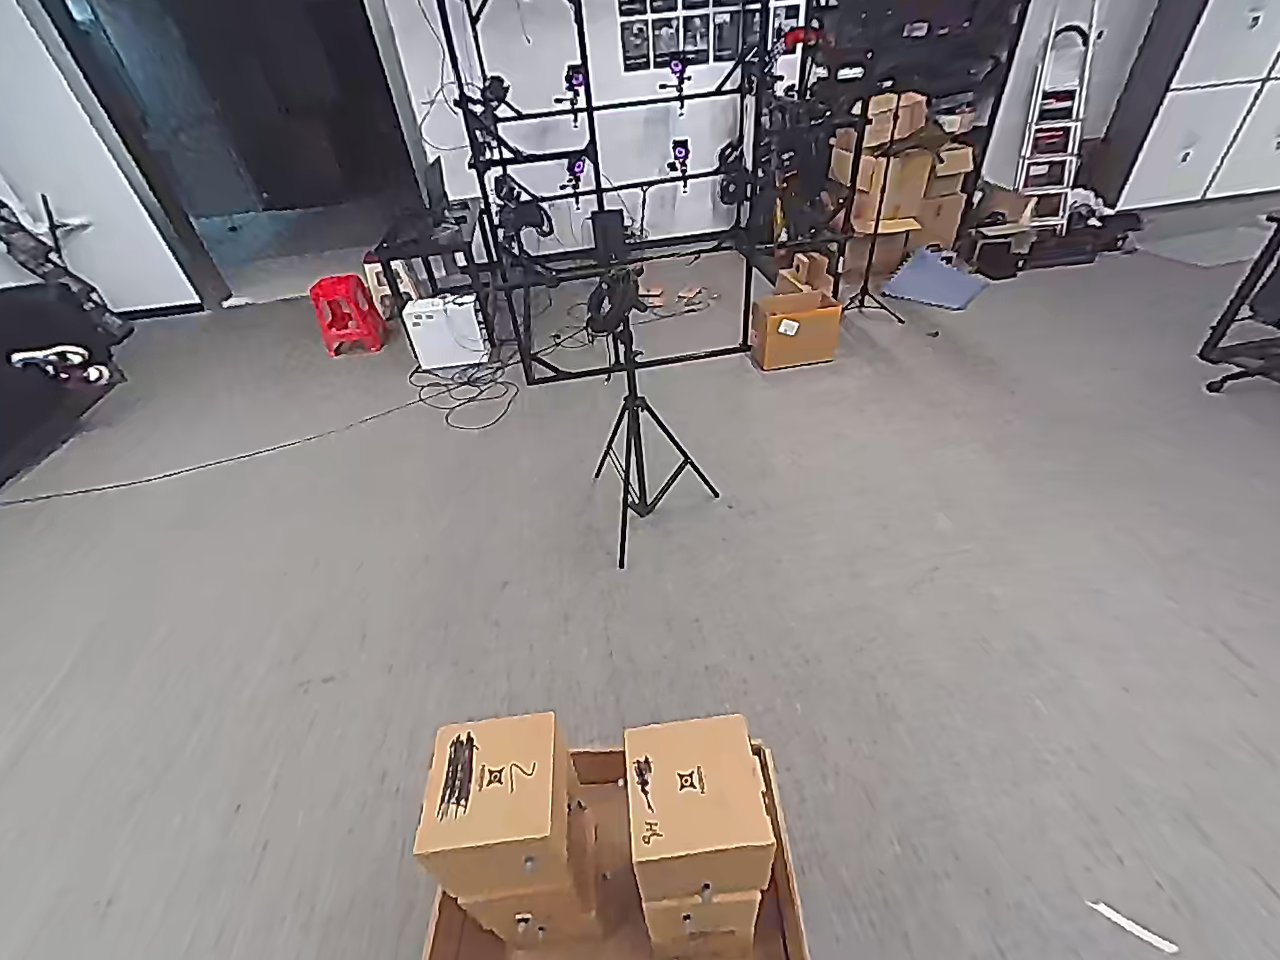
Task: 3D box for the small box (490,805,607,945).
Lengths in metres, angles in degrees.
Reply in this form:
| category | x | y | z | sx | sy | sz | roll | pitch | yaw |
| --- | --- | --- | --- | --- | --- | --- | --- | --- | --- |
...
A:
| category | x | y | z | sx | sy | sz | roll | pitch | yaw |
| --- | --- | --- | --- | --- | --- | --- | --- | --- | --- |
| small box | -0.157 | 0.719 | 0.983 | 0.179 | 0.176 | 0.168 | -5 | 39 | -1 |

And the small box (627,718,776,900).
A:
| category | x | y | z | sx | sy | sz | roll | pitch | yaw |
| --- | --- | --- | --- | --- | --- | --- | --- | --- | --- |
| small box | 0.076 | 0.459 | 0.756 | 0.179 | 0.176 | 0.168 | -6 | 38 | -1 |

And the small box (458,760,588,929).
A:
| category | x | y | z | sx | sy | sz | roll | pitch | yaw |
| --- | --- | --- | --- | --- | --- | --- | --- | --- | --- |
| small box | -0.179 | 0.592 | 0.880 | 0.168 | 0.176 | 0.179 | -8 | 39 | -1 |

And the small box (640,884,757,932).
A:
| category | x | y | z | sx | sy | sz | roll | pitch | yaw |
| --- | --- | --- | --- | --- | --- | --- | --- | --- | --- |
| small box | 0.086 | 0.588 | 0.857 | 0.168 | 0.176 | 0.179 | -5 | 38 | 1 |
